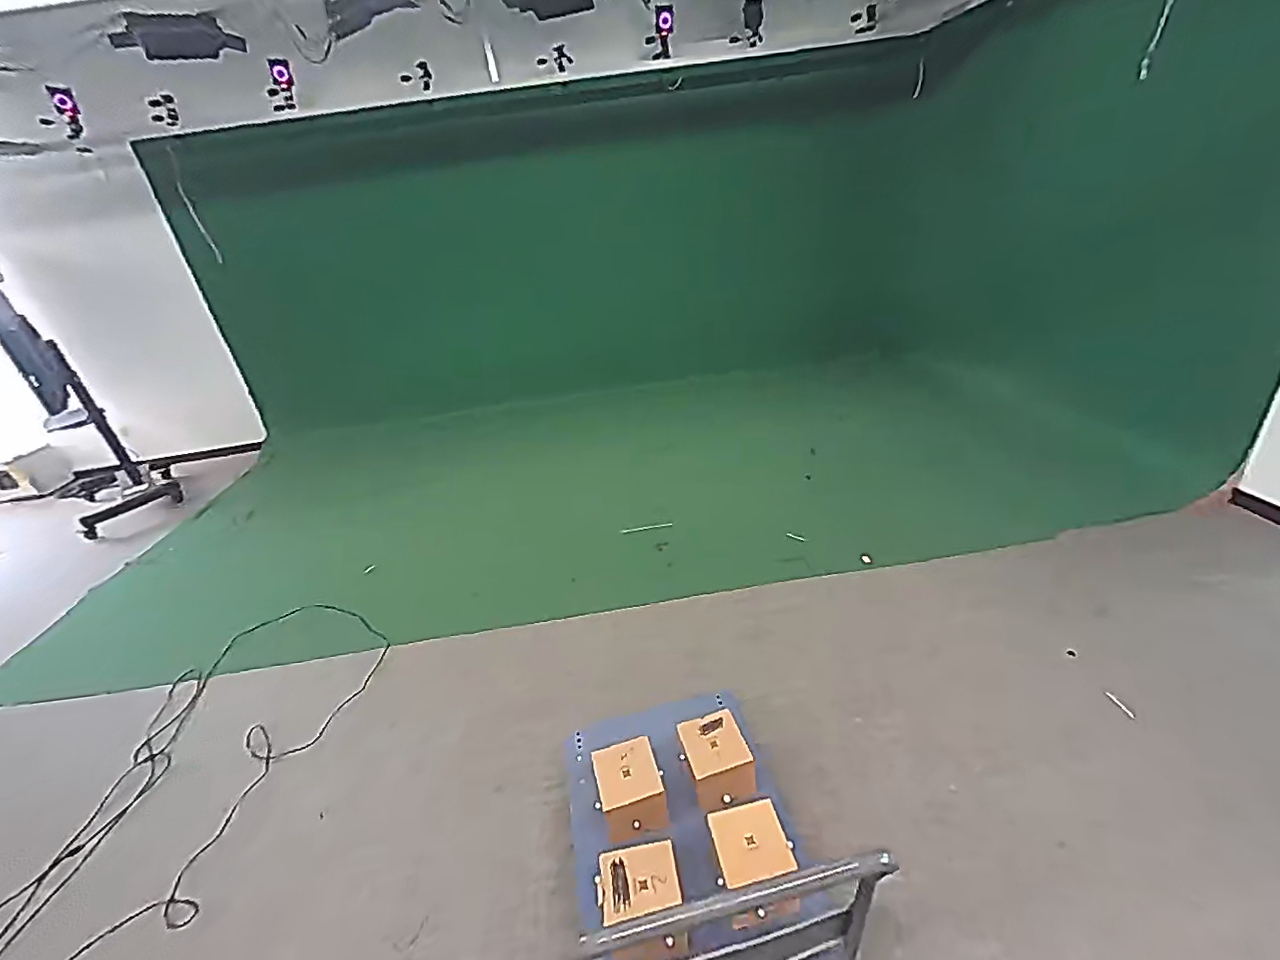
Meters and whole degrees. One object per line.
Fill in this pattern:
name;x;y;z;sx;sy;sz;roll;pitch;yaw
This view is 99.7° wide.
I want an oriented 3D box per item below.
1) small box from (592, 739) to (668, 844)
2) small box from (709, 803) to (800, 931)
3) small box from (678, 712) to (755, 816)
small box;-0.027;0.858;1.482;0.168;0.176;0.179;-12;28;-10
small box;0.268;0.922;1.293;0.168;0.176;0.179;-11;29;-6
small box;0.213;0.801;1.529;0.168;0.176;0.179;-14;30;-10
